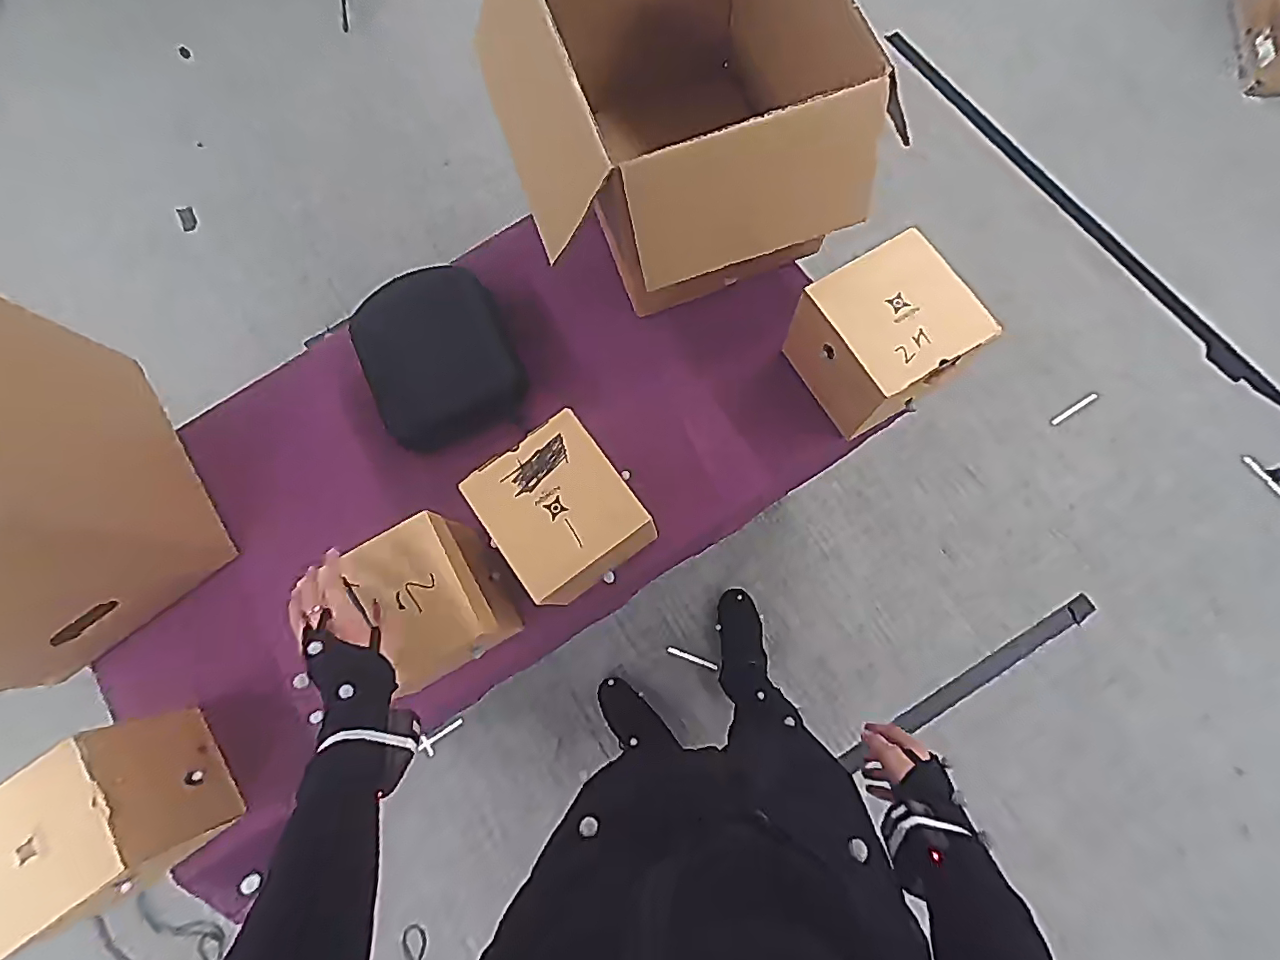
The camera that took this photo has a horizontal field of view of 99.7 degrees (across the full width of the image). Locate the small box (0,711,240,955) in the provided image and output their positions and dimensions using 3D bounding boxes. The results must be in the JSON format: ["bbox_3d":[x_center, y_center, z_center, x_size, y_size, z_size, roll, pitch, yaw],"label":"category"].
[{"bbox_3d":[-0.657,0.417,0.668,0.179,0.176,0.168,-35,77,-6],"label":"small box"}]

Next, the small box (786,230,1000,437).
[{"bbox_3d":[0.320,-0.185,0.731,0.168,0.176,0.179,-30,76,-2],"label":"small box"}]
